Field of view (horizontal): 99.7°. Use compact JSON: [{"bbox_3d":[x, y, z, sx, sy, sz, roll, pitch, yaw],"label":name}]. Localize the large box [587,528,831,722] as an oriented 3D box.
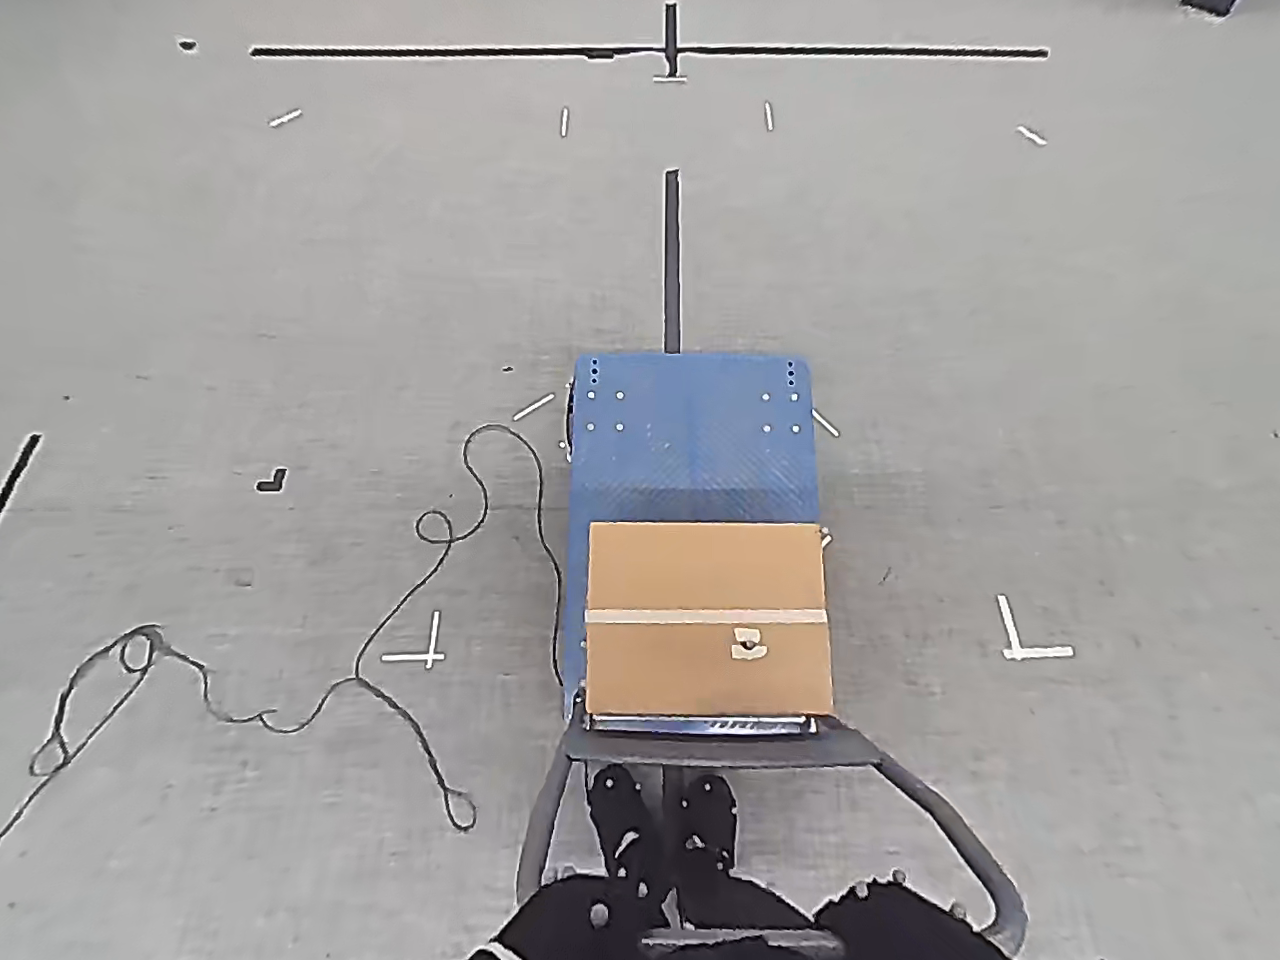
[{"bbox_3d":[0.107,0.268,1.048,0.408,0.320,0.320,0,79,-1],"label":"large box"}]
